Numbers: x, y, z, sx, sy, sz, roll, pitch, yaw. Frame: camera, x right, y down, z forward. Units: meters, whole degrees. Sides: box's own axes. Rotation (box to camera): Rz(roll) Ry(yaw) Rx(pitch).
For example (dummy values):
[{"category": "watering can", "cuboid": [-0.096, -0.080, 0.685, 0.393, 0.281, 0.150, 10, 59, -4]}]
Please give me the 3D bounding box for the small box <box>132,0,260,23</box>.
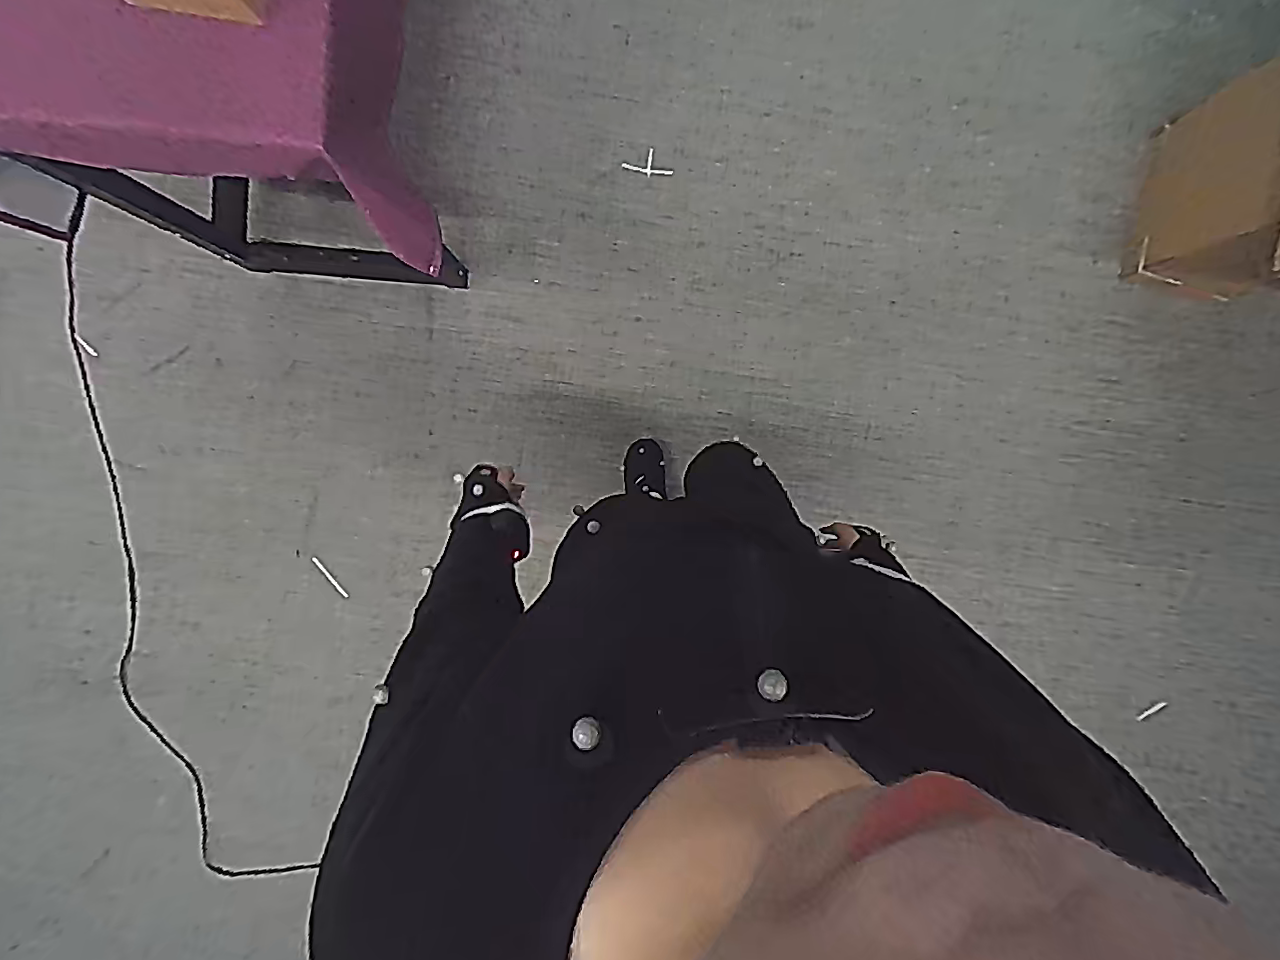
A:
[{"category": "small box", "cuboid": [-0.565, -0.682, 0.624, 0.179, 0.176, 0.168, 8, 93, -2]}]
